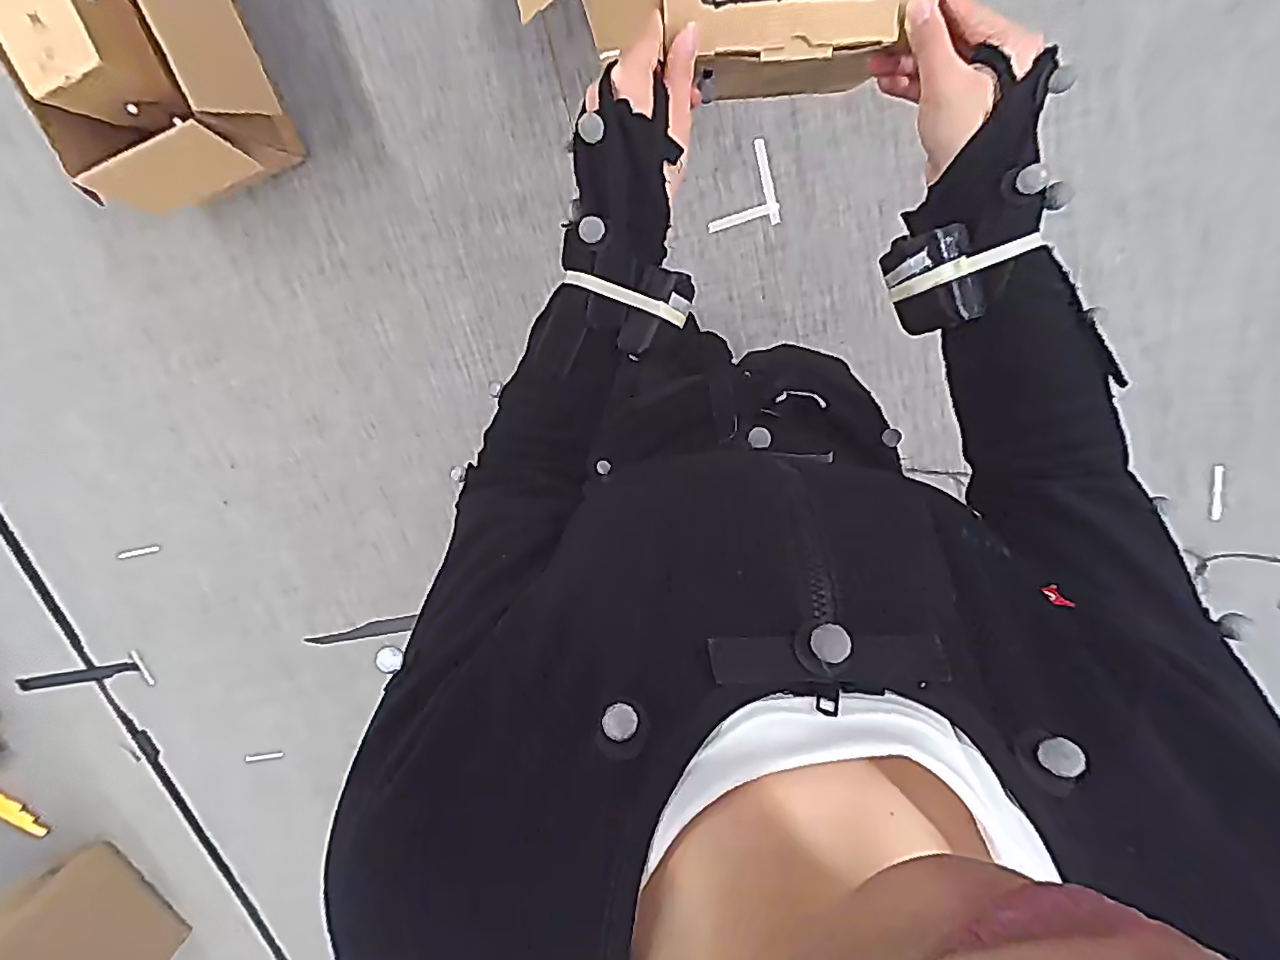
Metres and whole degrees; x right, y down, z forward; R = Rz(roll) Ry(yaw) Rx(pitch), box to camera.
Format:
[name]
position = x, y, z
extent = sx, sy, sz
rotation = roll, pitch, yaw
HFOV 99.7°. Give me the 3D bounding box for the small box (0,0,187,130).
[small box]
position = -1.012, -0.792, 1.001
extent = 0.168, 0.176, 0.179
rotation = -15, 106, 11
